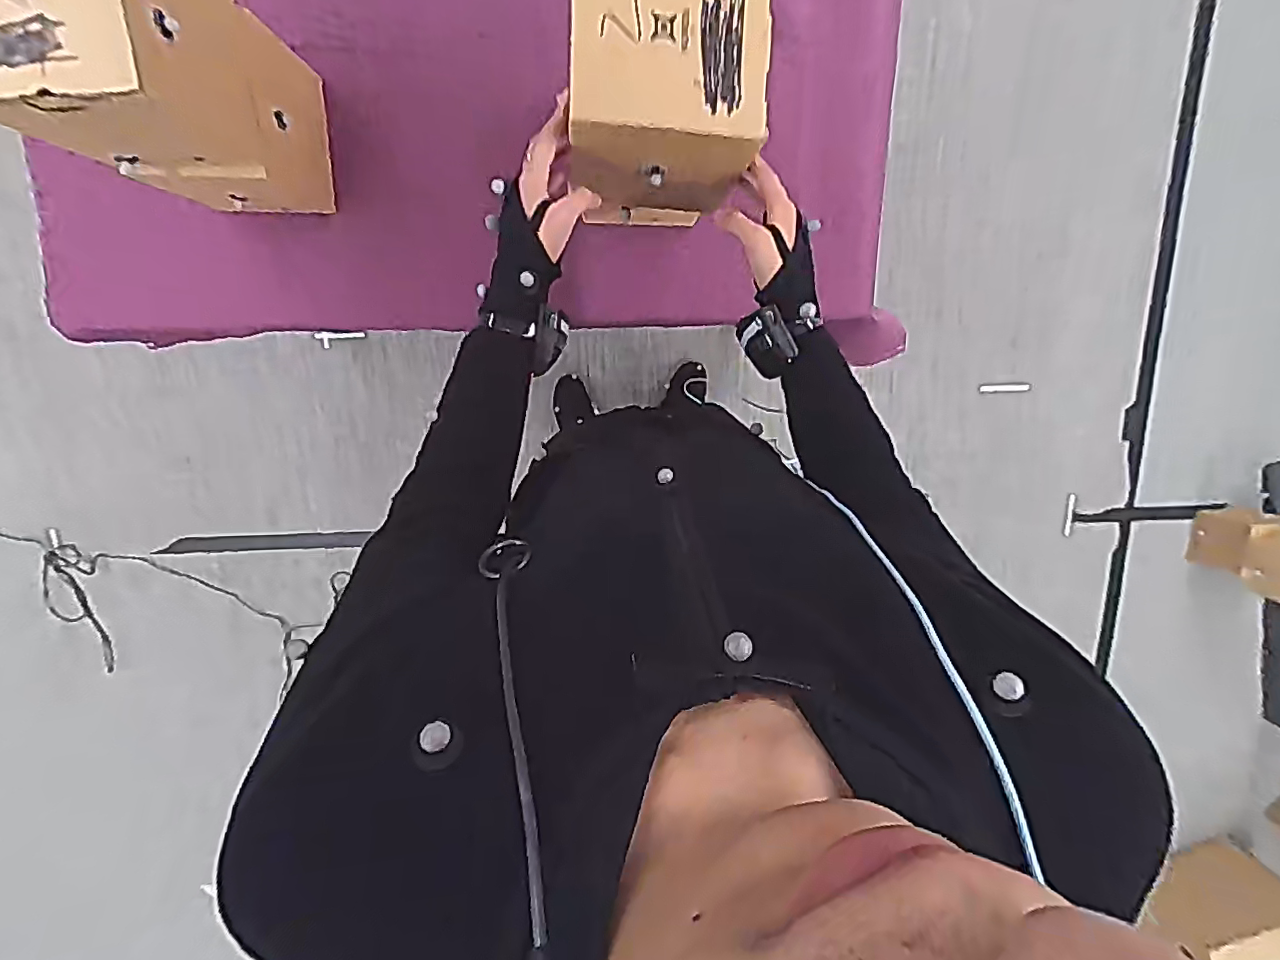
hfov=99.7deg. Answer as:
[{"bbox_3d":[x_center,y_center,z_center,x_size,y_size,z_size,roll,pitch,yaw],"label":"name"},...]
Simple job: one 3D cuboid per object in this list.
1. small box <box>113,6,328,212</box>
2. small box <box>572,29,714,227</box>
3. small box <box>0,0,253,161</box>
[{"bbox_3d":[-0.520,-0.450,0.680,0.168,0.176,0.179,0,103,-4],"label":"small box"},{"bbox_3d":[-0.001,-0.445,0.714,0.168,0.176,0.179,0,102,-3],"label":"small box"},{"bbox_3d":[-0.515,-0.424,0.517,0.168,0.176,0.179,-4,103,-3],"label":"small box"}]
